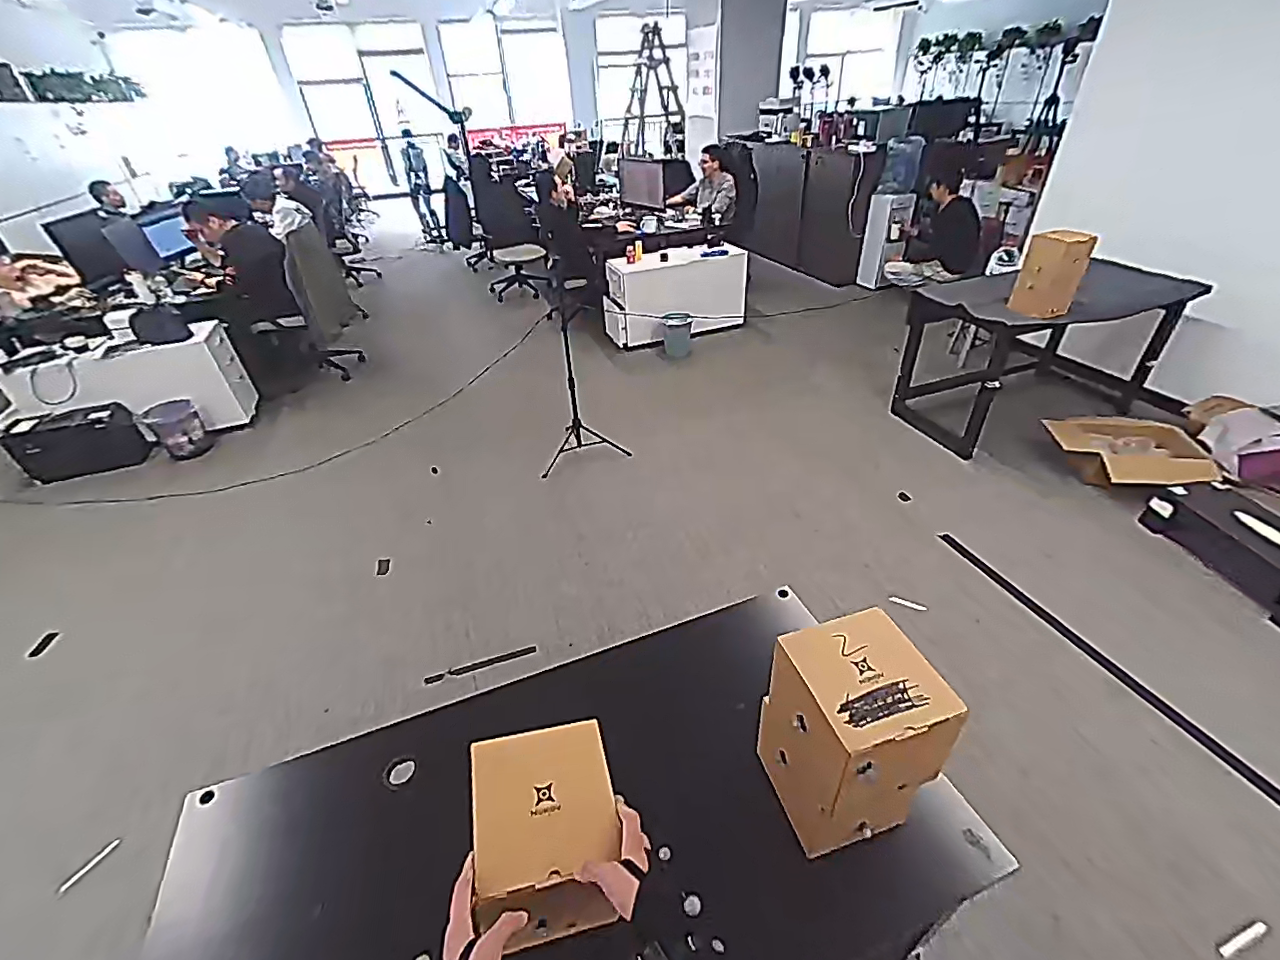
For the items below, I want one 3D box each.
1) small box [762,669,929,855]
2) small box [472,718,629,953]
[{"bbox_3d":[0.301,0.433,0.837,0.168,0.176,0.179,-13,37,-10],"label":"small box"},{"bbox_3d":[-0.121,0.437,0.677,0.168,0.176,0.179,-5,36,-17],"label":"small box"}]
